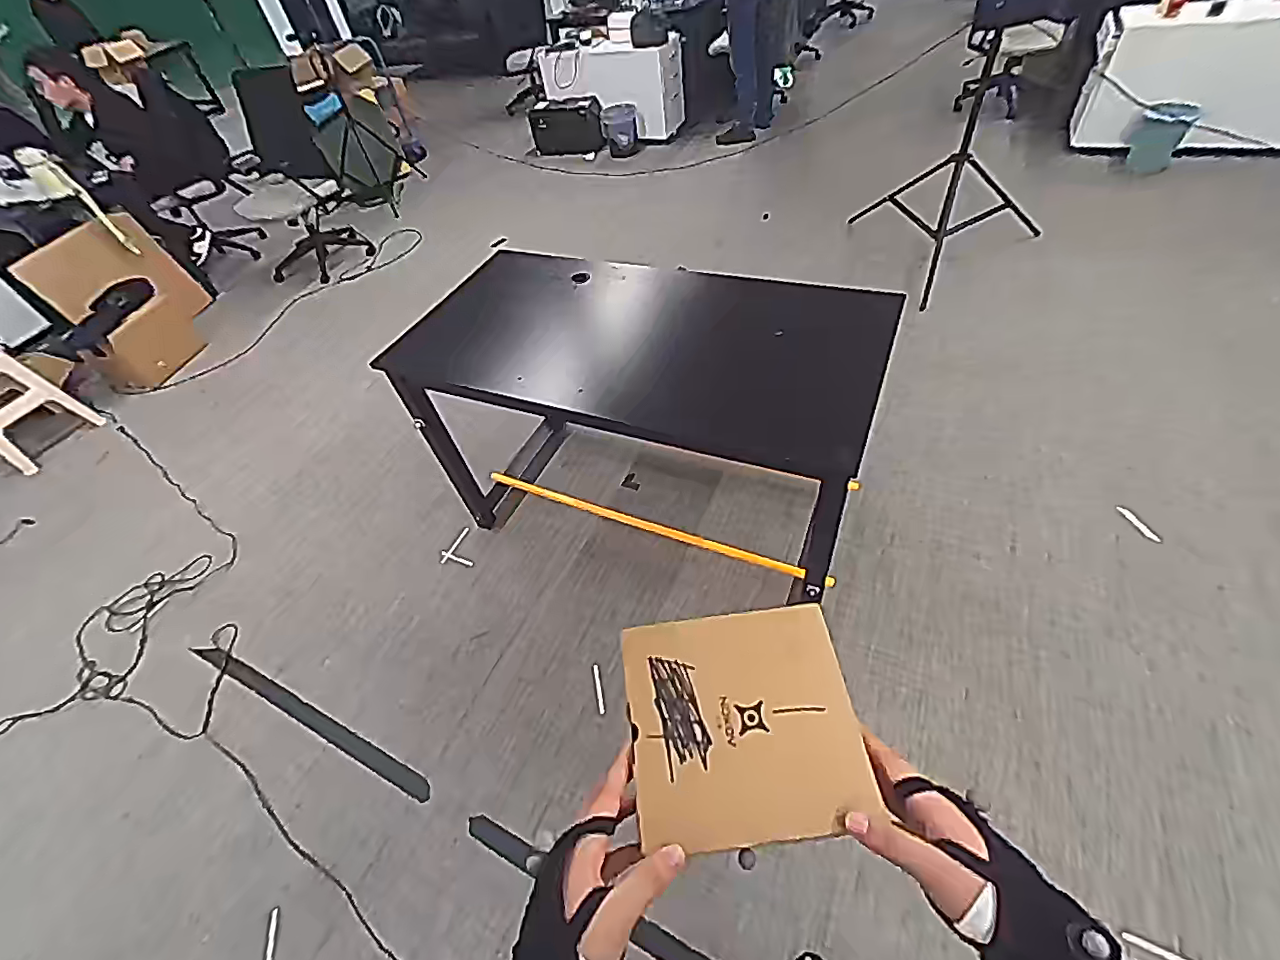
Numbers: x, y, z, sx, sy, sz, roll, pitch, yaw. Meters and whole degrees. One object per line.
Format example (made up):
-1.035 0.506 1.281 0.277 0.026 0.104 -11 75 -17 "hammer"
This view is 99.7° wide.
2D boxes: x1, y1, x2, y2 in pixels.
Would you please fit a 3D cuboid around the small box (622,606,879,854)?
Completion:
0.085 0.233 0.494 0.179 0.176 0.168 -8 55 0 "small box"
